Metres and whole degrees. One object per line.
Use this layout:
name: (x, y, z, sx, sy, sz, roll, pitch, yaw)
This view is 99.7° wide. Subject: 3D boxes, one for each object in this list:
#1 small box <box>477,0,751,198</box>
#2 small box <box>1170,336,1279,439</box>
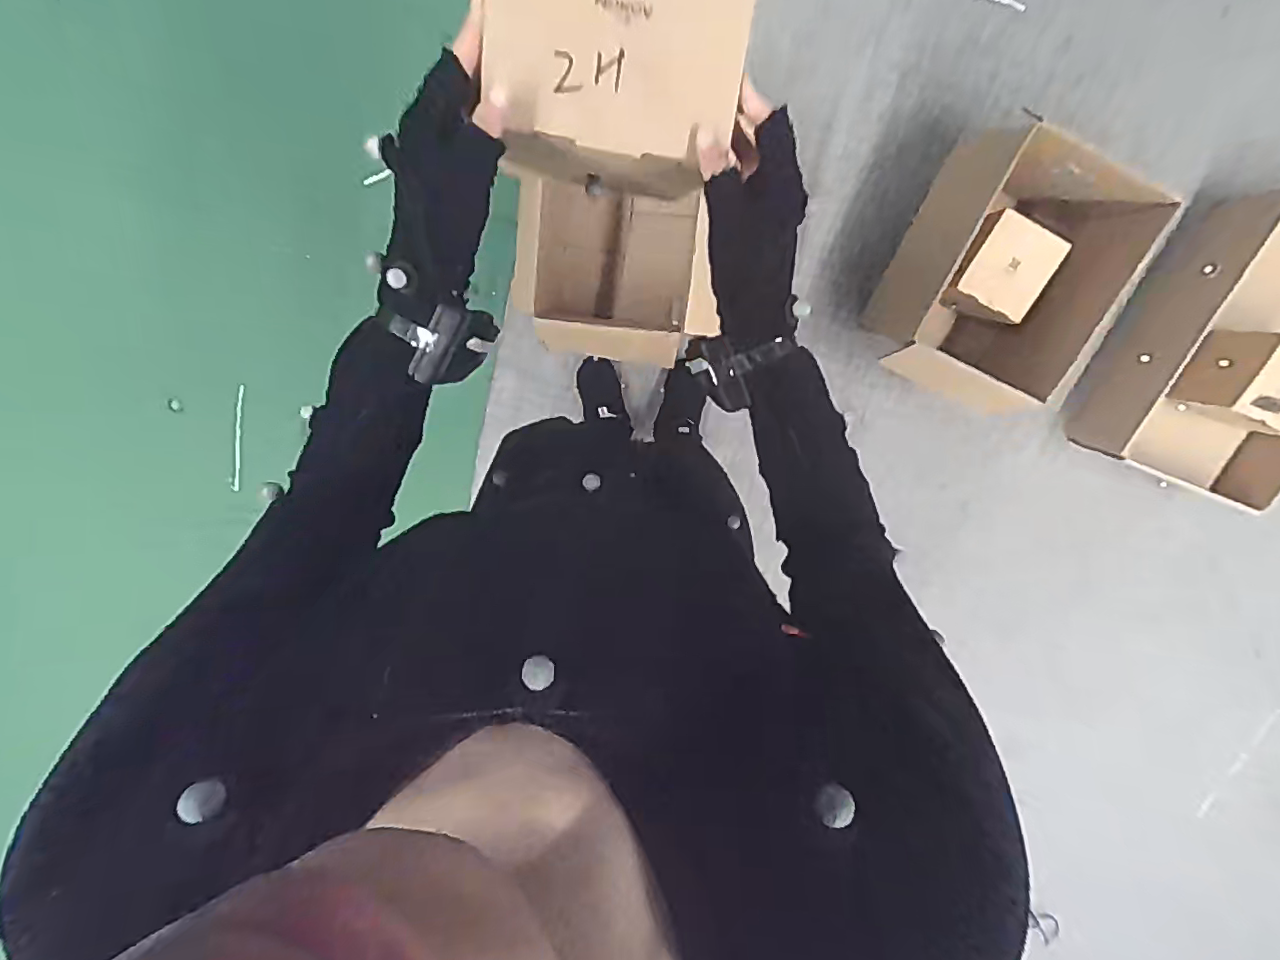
small box: (-0.022, -0.327, 0.400, 0.168, 0.176, 0.179, 5, 110, -10)
small box: (1.382, -0.214, 1.229, 0.168, 0.176, 0.179, 22, 105, -6)
